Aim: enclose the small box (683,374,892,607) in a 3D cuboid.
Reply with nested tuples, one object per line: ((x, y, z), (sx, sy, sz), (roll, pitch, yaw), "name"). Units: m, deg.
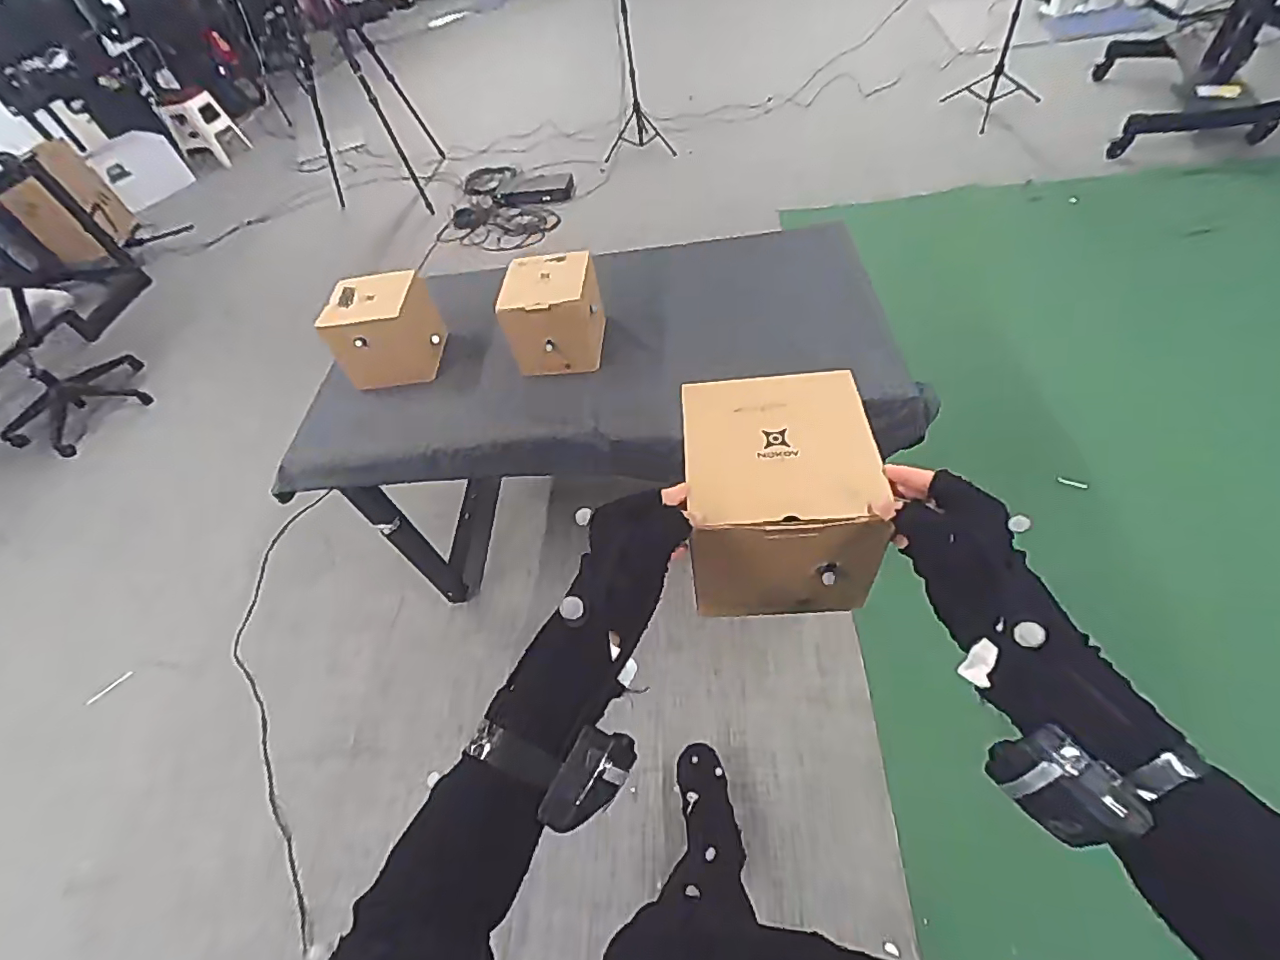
((0.133, 0.019, 0.548), (0.168, 0.176, 0.179), (-4, 49, 6), "small box")

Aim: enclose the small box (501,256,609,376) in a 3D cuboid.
((-0.164, -0.328, 1.108), (0.168, 0.176, 0.179), (-3, 52, 9), "small box")

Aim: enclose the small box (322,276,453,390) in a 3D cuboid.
((-0.530, -0.310, 1.162), (0.179, 0.176, 0.168), (-6, 52, 5), "small box")
